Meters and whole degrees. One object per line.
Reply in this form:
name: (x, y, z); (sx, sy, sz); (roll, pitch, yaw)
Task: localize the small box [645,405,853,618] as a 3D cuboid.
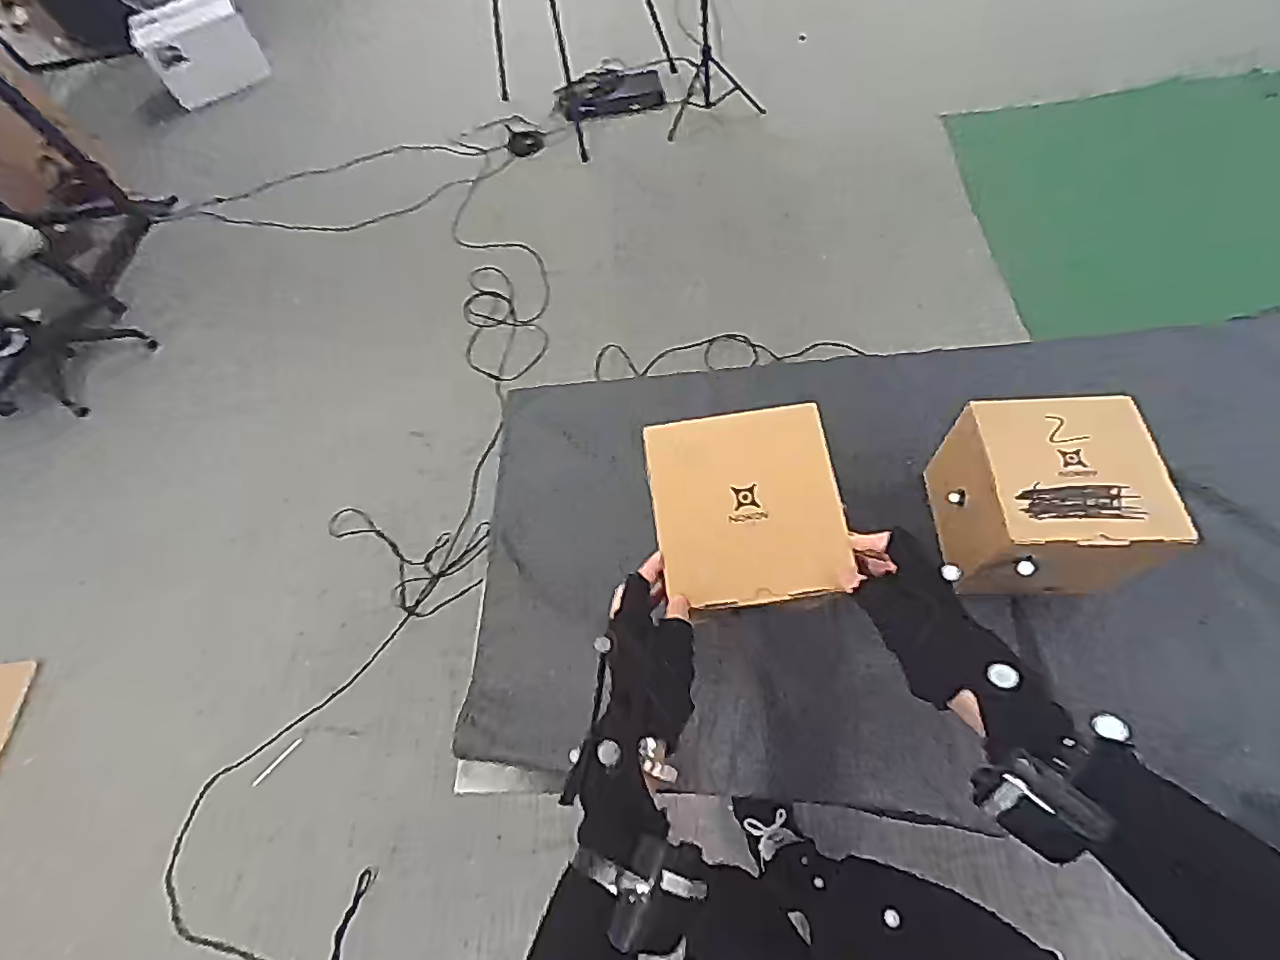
small box: (0.096, 0.043, 0.563); (0.168, 0.176, 0.179); (-8, 73, 1)
